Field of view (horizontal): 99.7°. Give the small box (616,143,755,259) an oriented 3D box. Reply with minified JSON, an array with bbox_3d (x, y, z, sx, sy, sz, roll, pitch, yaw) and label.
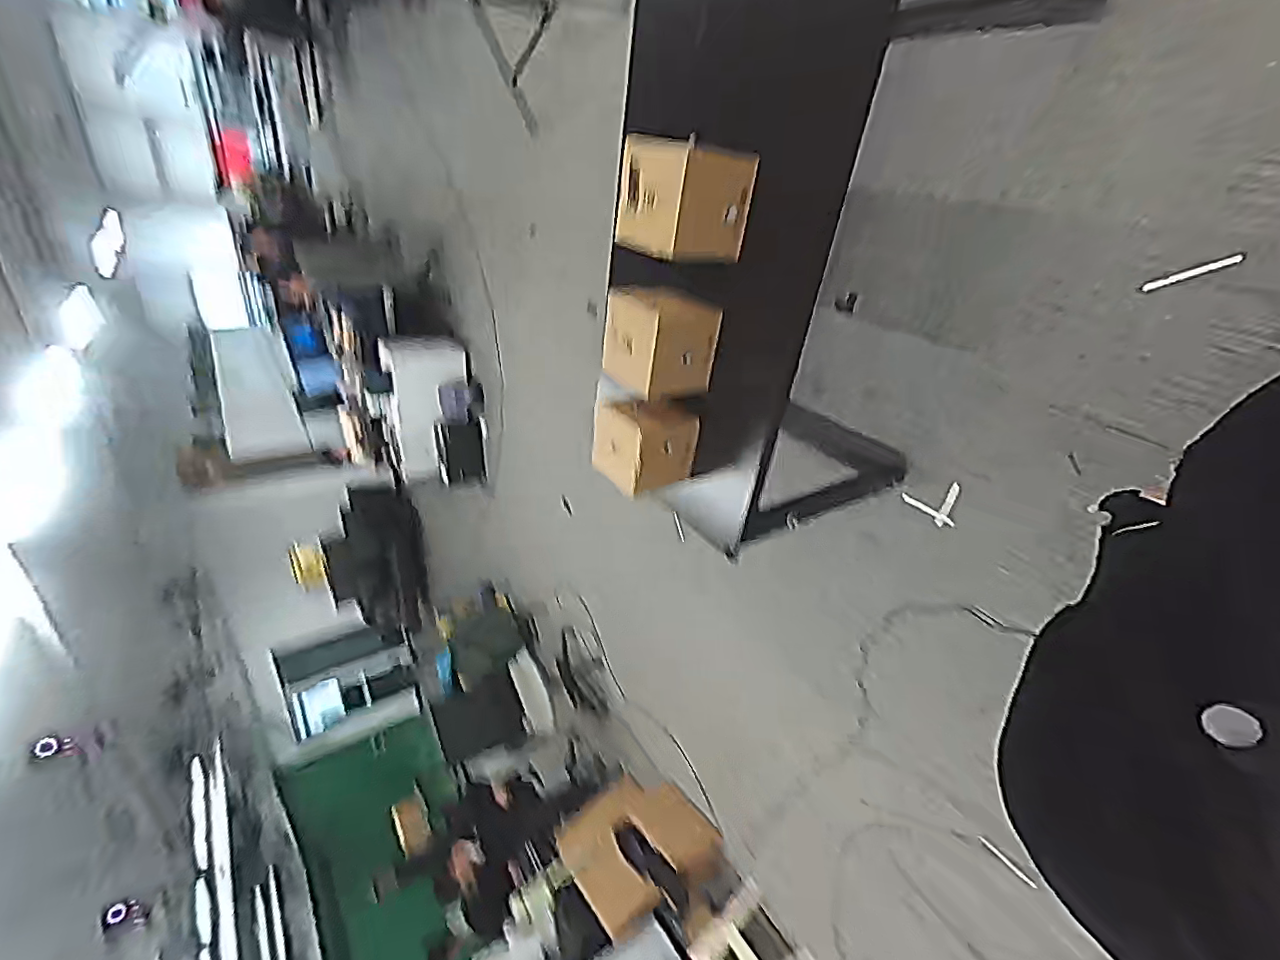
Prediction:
[{"bbox_3d":[0.079,-0.509,0.995,0.179,0.176,0.168,39,132,41],"label":"small box"}]

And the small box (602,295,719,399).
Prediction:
[{"bbox_3d":[0.041,-0.287,1.134,0.179,0.176,0.168,40,132,42],"label":"small box"}]

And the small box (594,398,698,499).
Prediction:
[{"bbox_3d":[0.013,-0.082,1.256,0.179,0.176,0.168,39,131,43],"label":"small box"}]
